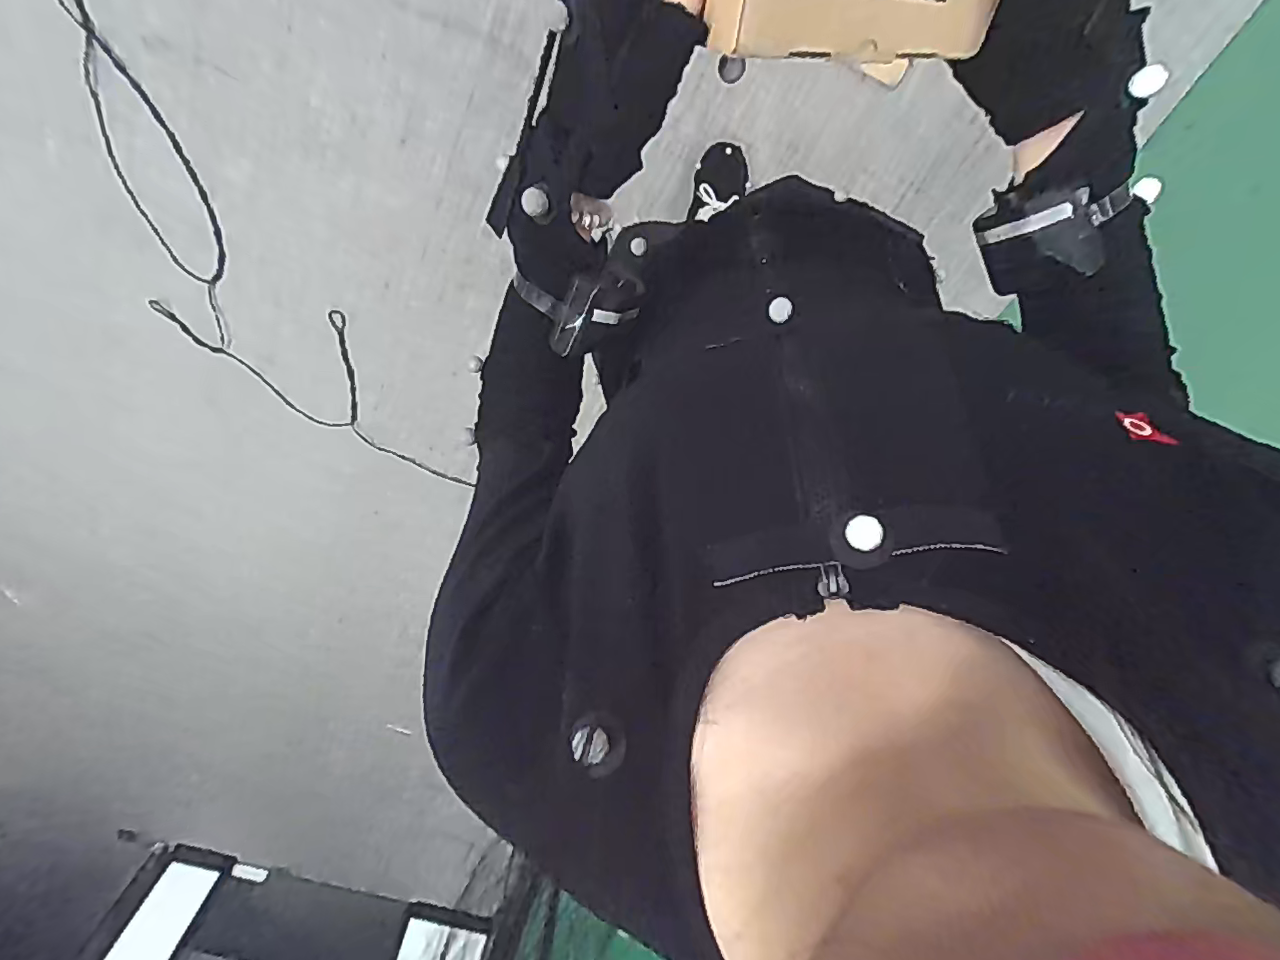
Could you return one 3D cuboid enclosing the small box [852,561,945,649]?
[{"bbox_3d":[0.807,0.390,1.709,0.168,0.176,0.179,32,116,-15],"label":"small box"}]
